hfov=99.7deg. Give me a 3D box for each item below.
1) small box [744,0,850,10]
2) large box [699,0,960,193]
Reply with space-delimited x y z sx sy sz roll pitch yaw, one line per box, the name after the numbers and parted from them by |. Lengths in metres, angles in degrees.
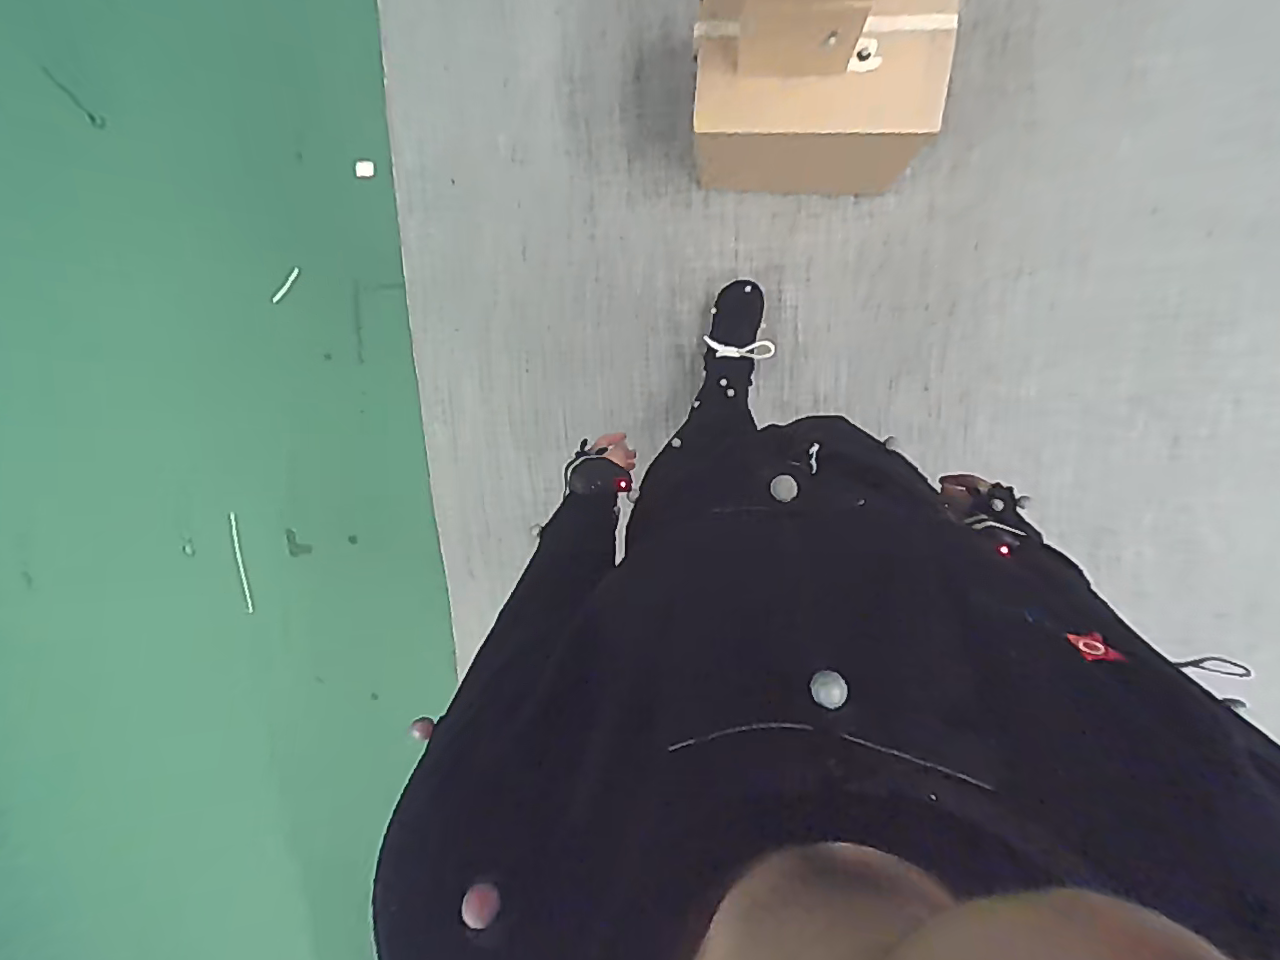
0.213 -0.696 0.626 0.179 0.176 0.168 2 100 9 | small box
0.321 -0.756 1.017 0.408 0.320 0.320 5 102 8 | large box
